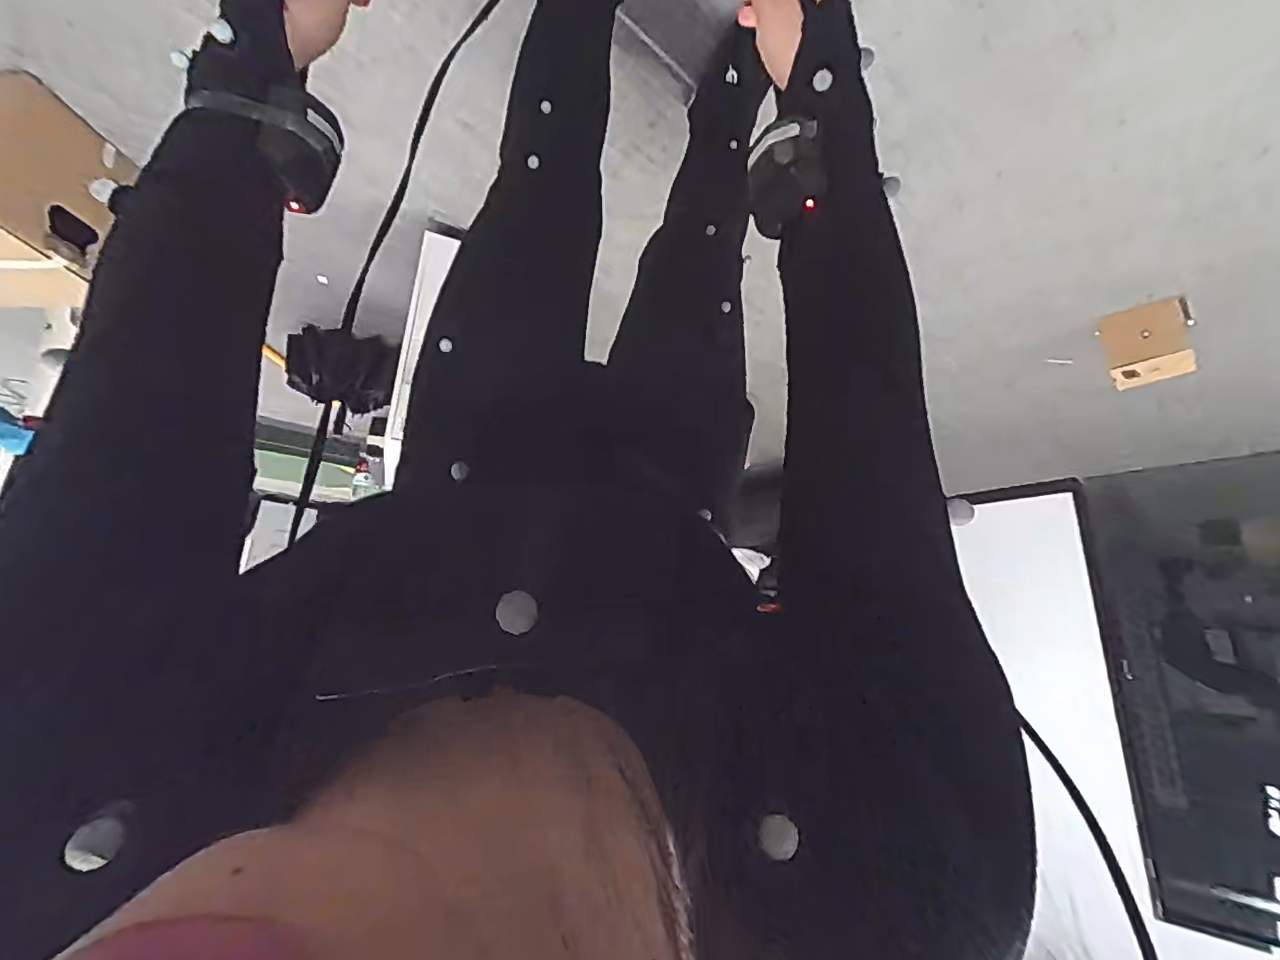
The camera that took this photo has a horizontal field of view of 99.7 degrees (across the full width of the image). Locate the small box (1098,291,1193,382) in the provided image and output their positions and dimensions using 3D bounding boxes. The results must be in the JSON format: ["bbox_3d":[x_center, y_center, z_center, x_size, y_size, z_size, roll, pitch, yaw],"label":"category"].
[{"bbox_3d":[1.464,-0.414,1.571,0.168,0.176,0.179,17,158,-40],"label":"small box"}]
